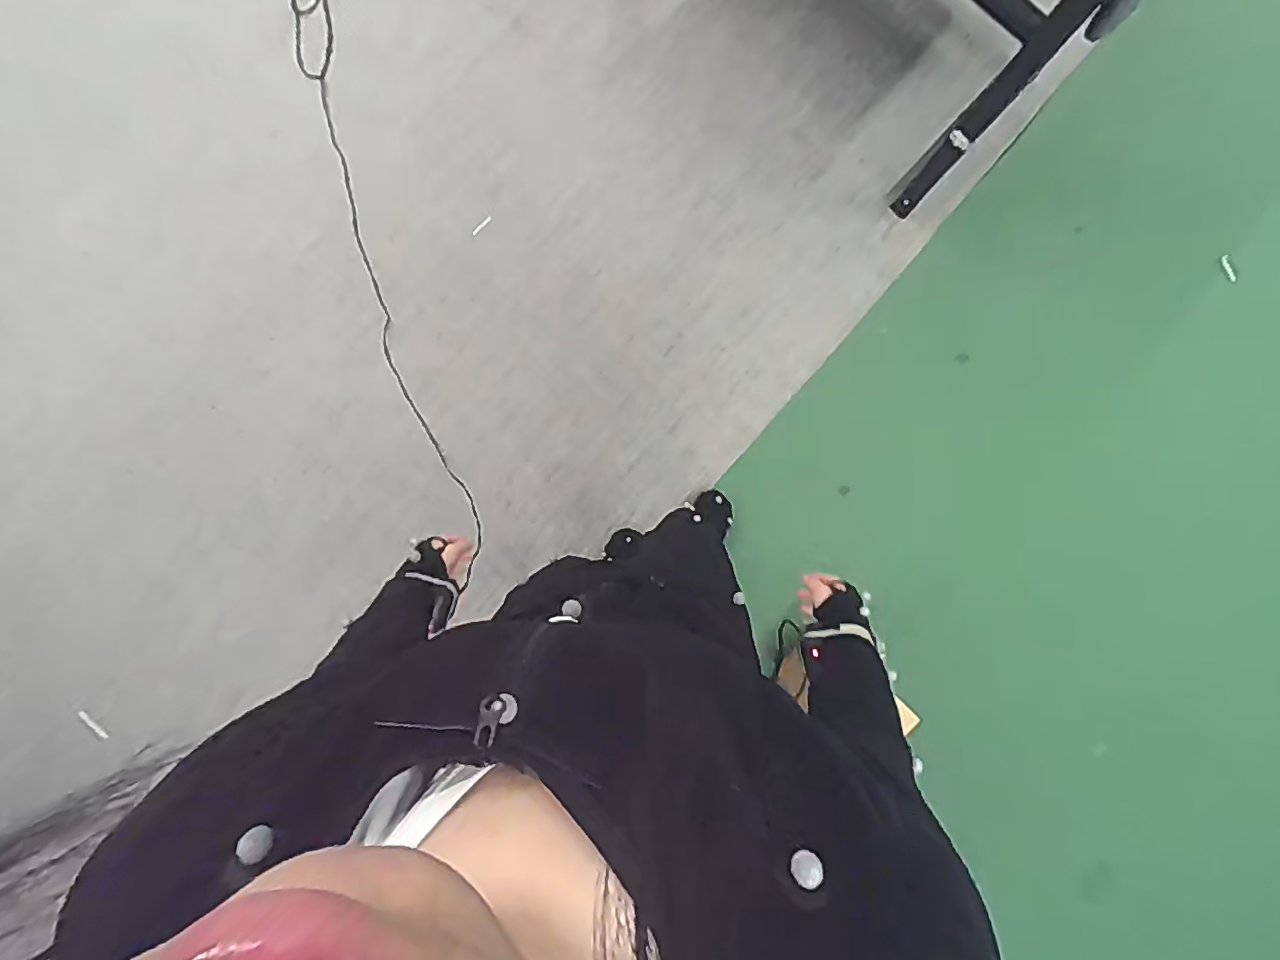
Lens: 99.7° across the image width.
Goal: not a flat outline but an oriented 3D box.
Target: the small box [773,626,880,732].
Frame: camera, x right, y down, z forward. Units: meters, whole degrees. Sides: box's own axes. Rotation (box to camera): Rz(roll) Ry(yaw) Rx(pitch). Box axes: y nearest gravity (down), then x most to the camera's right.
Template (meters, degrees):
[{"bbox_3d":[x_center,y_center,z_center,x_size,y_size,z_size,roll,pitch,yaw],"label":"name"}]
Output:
[{"bbox_3d":[0.481,0.512,1.419,0.179,0.176,0.168,44,89,2],"label":"small box"}]
